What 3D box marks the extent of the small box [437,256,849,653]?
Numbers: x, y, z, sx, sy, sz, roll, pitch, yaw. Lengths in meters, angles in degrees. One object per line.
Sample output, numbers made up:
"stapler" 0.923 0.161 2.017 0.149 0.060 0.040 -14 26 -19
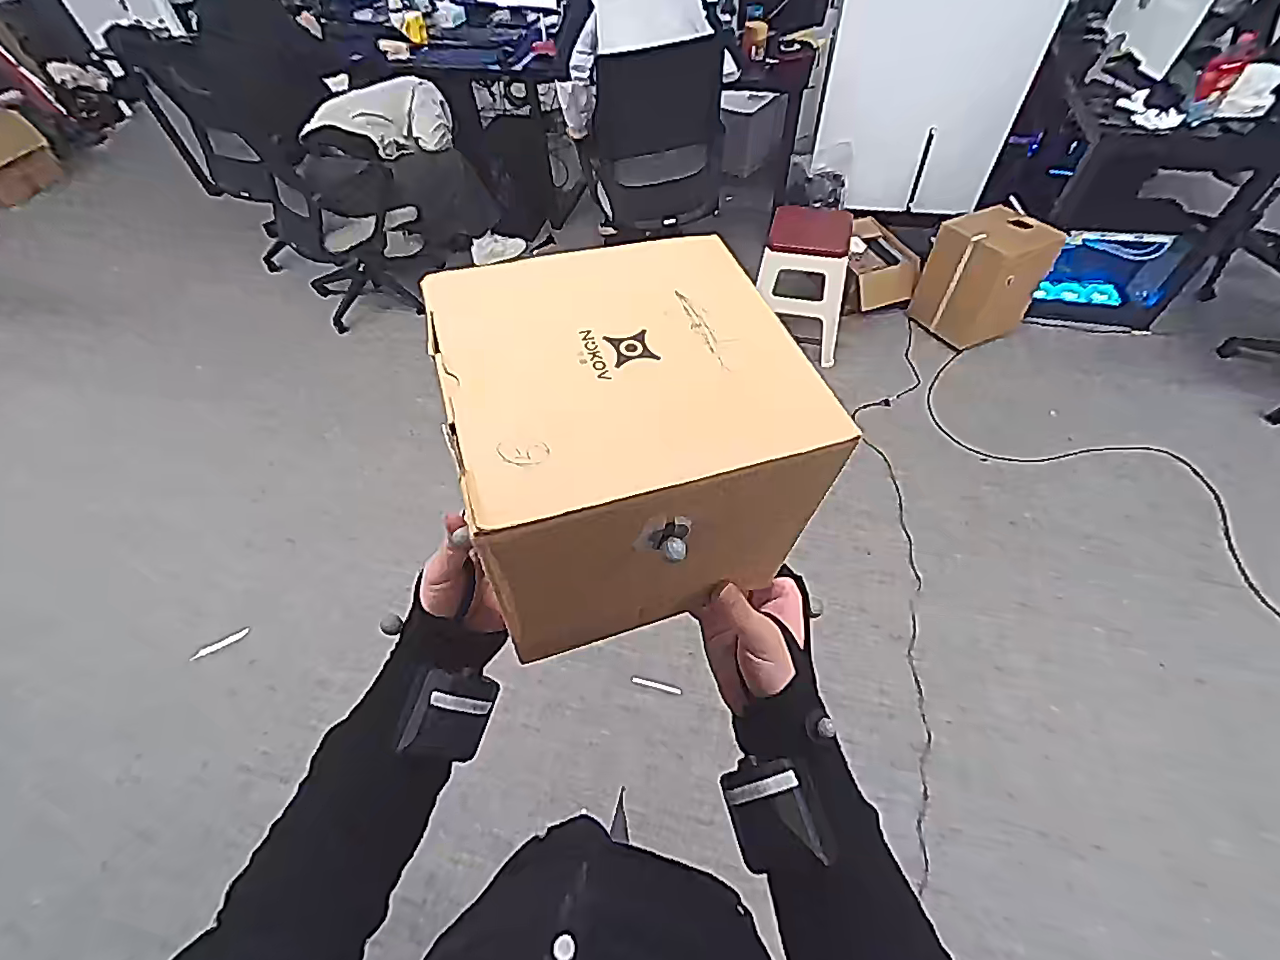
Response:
"small box" -0.011 -0.011 0.343 0.179 0.176 0.168 -14 58 -15
